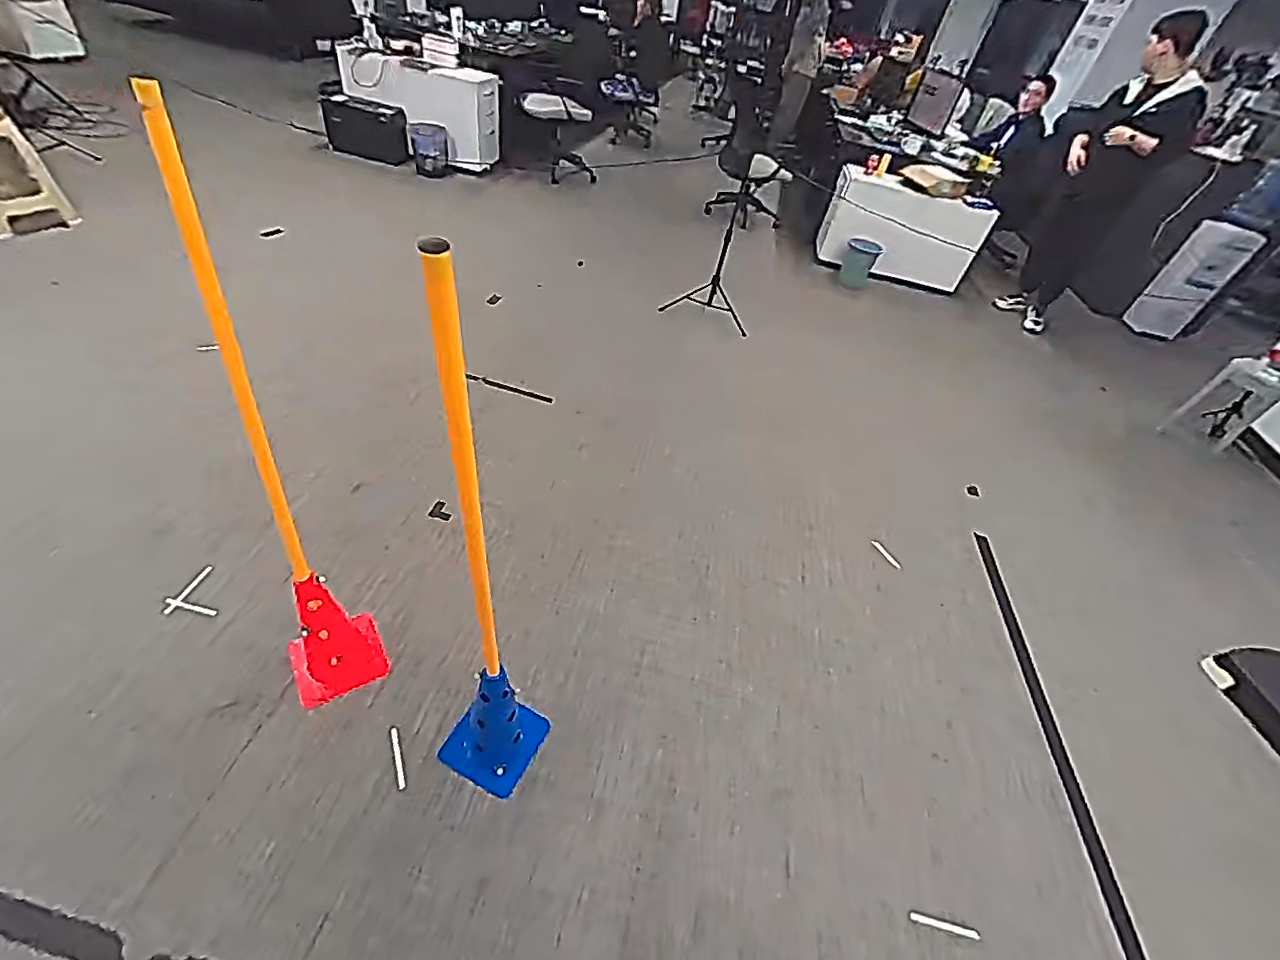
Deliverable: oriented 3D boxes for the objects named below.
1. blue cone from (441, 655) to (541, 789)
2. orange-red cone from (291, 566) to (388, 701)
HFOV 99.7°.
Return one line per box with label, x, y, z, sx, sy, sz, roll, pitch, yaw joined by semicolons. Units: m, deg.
blue cone;-0.324;0.492;1.172;0.192;0.380;0.193;25;44;14
orange-red cone;-0.725;0.315;1.237;0.198;0.360;0.199;-18;53;-28
